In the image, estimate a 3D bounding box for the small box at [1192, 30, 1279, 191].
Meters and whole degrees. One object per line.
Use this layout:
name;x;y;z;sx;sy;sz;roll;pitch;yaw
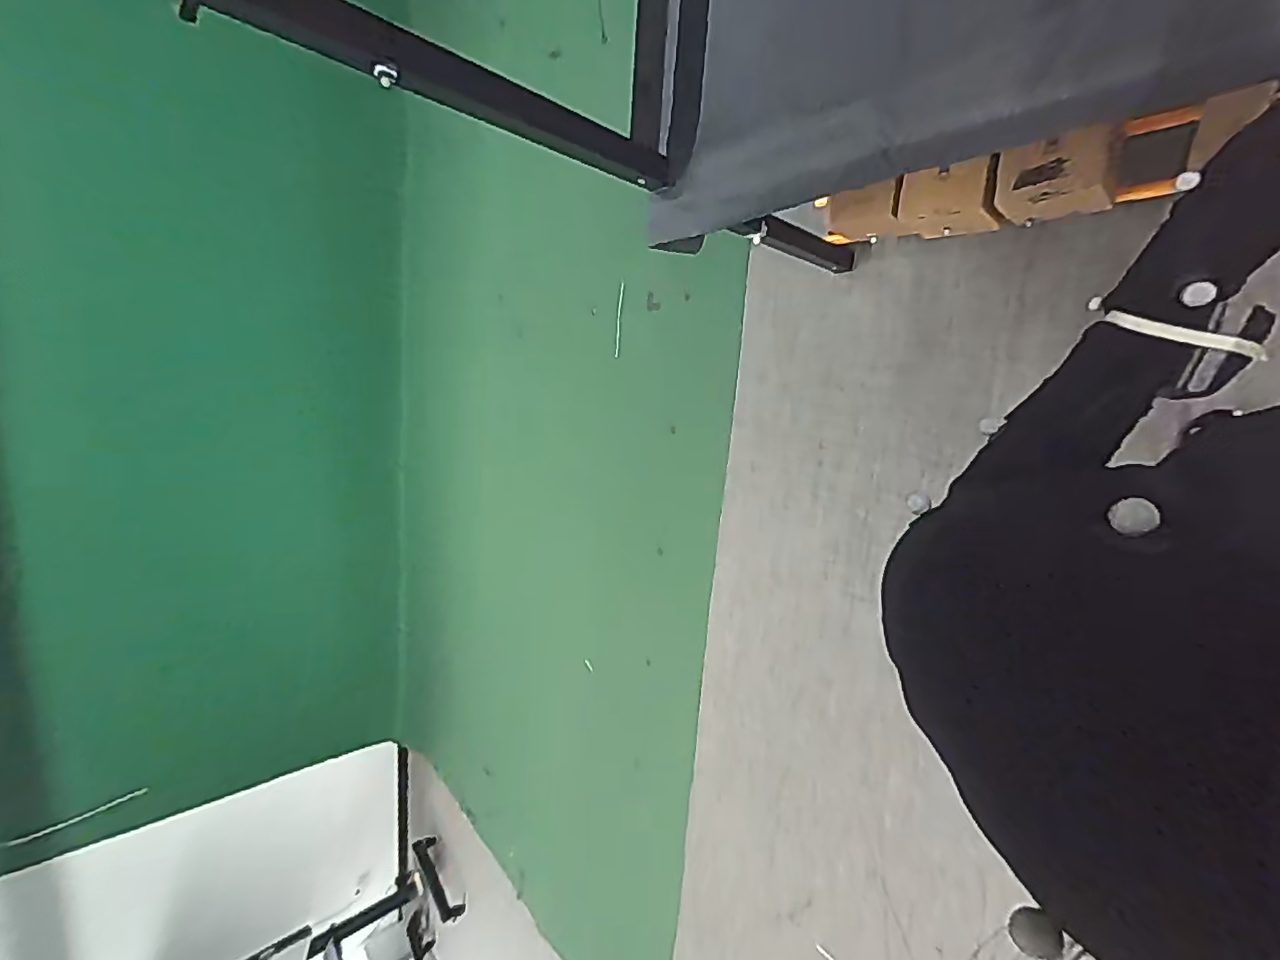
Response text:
small box;1.012;-0.579;0.847;0.168;0.176;0.179;21;110;46
